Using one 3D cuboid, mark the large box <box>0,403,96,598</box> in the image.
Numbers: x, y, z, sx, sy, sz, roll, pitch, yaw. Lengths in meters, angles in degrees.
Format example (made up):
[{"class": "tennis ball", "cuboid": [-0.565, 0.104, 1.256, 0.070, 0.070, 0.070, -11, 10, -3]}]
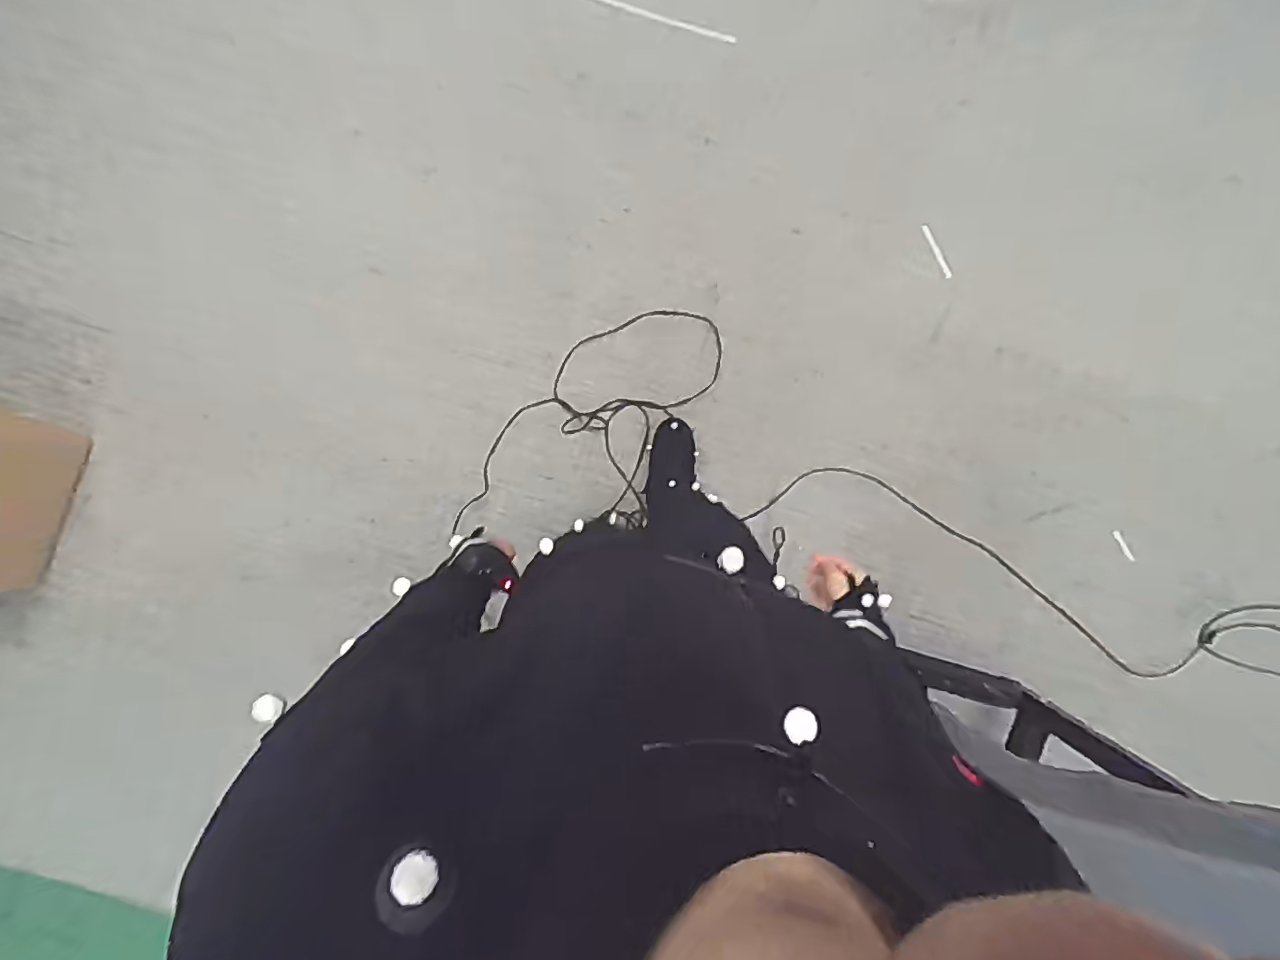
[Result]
[{"class": "large box", "cuboid": [-1.555, 0.041, 1.201, 0.320, 0.320, 0.408, 22, 92, -2]}]
